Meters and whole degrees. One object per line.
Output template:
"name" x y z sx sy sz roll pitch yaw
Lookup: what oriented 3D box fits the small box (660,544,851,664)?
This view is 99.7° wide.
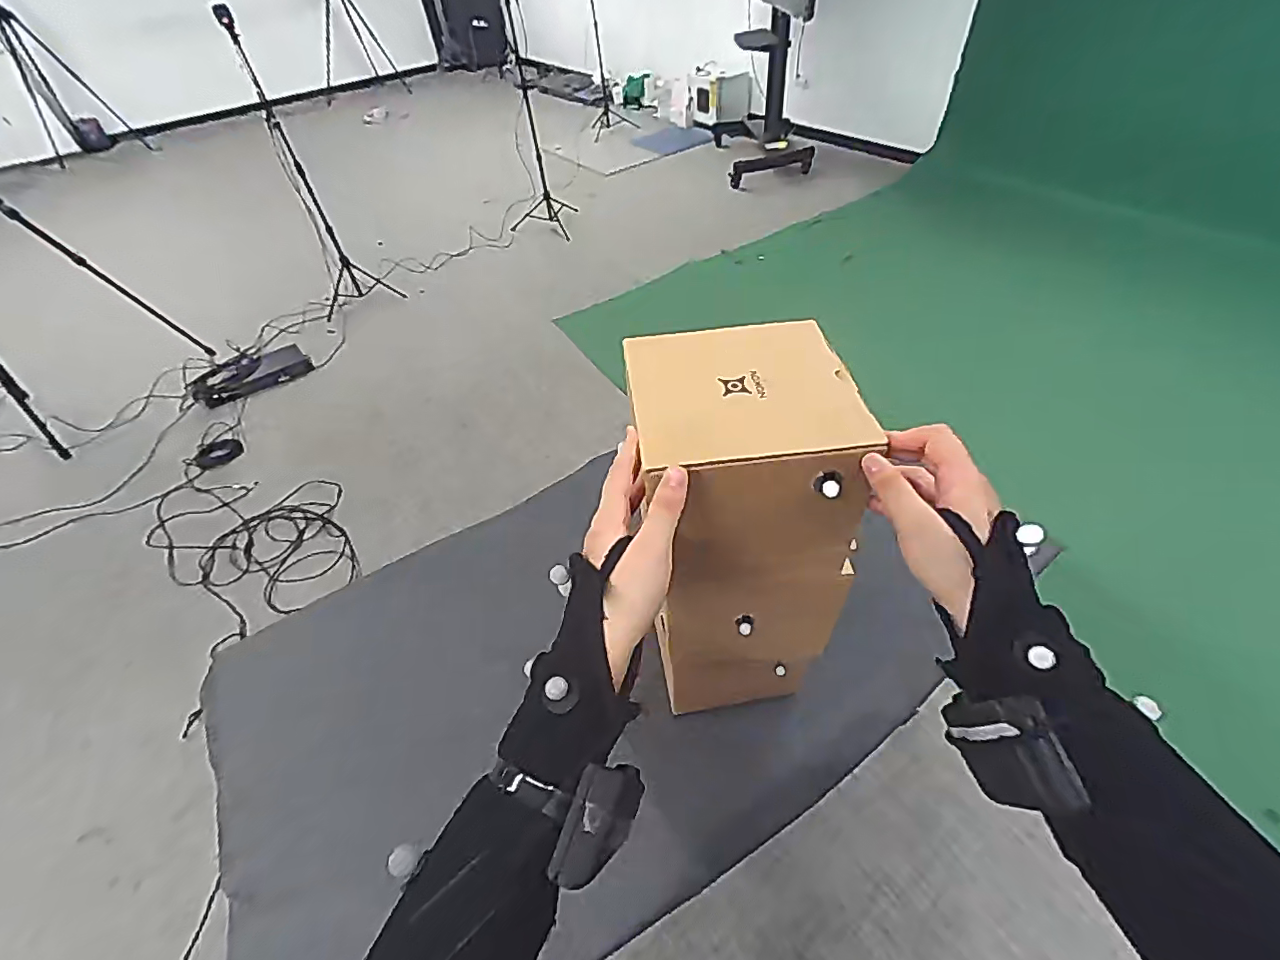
"small box" 0.109 0.090 0.602 0.179 0.176 0.168 -4 47 2

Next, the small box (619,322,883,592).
"small box" 0.080 -0.016 0.479 0.179 0.176 0.168 -6 47 -2
